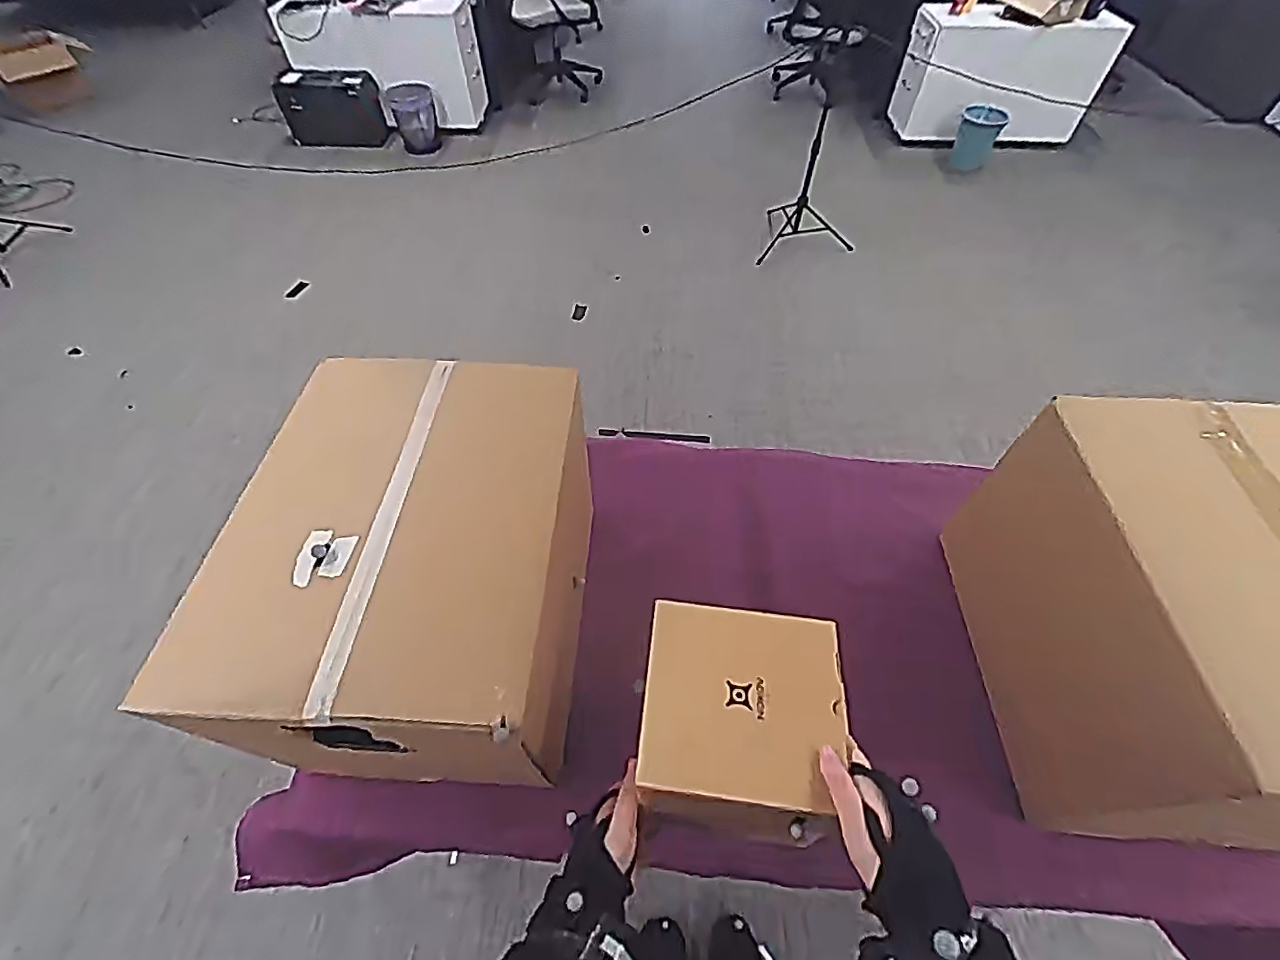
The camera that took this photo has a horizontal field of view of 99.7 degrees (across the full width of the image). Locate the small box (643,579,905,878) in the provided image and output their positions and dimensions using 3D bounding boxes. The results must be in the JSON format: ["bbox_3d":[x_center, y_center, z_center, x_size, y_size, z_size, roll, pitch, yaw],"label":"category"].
[{"bbox_3d":[0.108,0.223,0.500,0.168,0.176,0.179,18,31,-11],"label":"small box"}]
